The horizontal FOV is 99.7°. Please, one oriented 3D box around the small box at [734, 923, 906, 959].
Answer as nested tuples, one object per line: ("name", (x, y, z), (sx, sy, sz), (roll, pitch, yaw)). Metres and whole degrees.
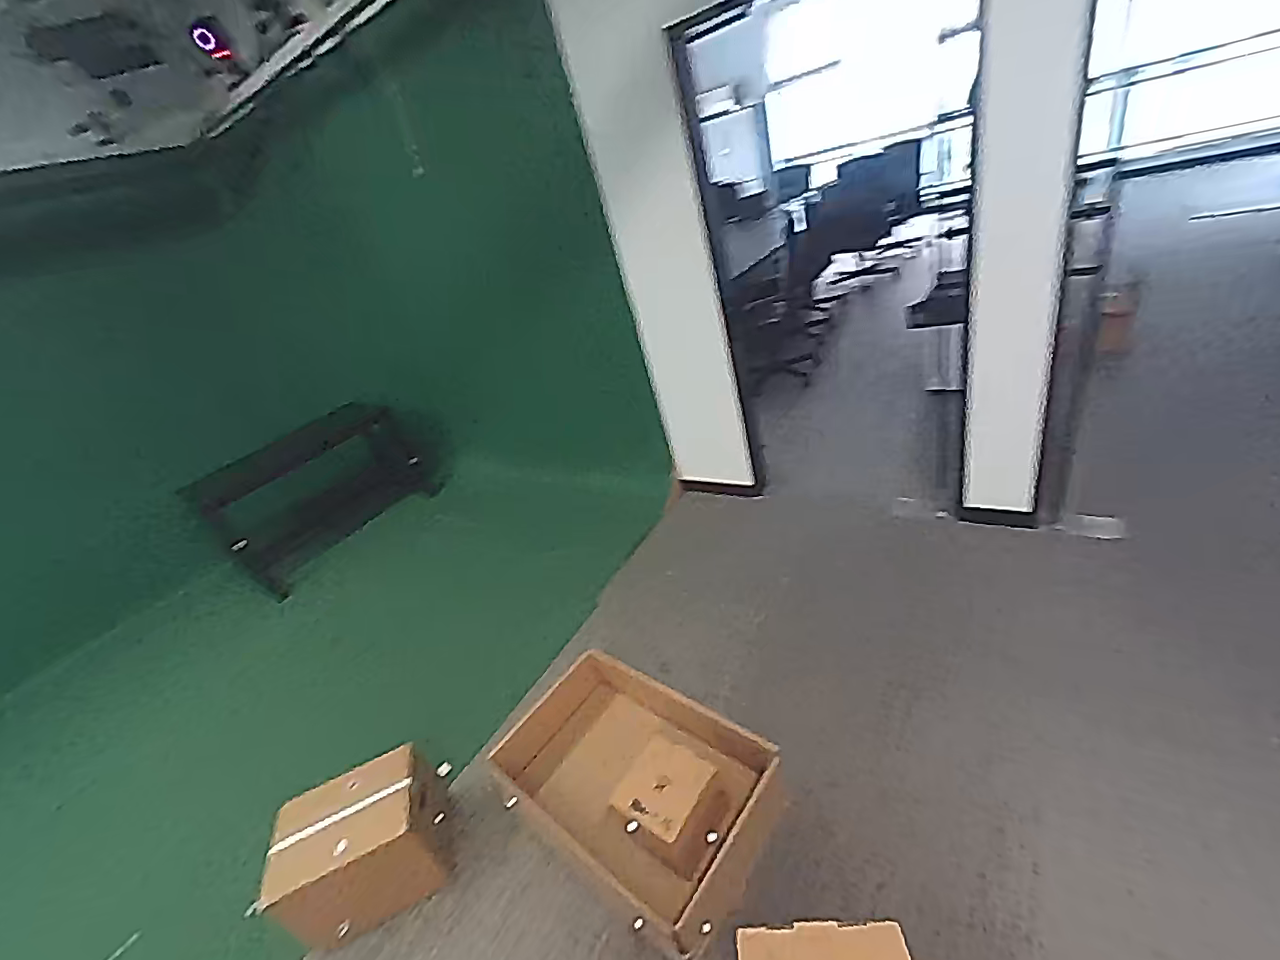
("small box", (0.182, 0.564, 0.508), (0.168, 0.176, 0.179), (-6, 26, 4))
